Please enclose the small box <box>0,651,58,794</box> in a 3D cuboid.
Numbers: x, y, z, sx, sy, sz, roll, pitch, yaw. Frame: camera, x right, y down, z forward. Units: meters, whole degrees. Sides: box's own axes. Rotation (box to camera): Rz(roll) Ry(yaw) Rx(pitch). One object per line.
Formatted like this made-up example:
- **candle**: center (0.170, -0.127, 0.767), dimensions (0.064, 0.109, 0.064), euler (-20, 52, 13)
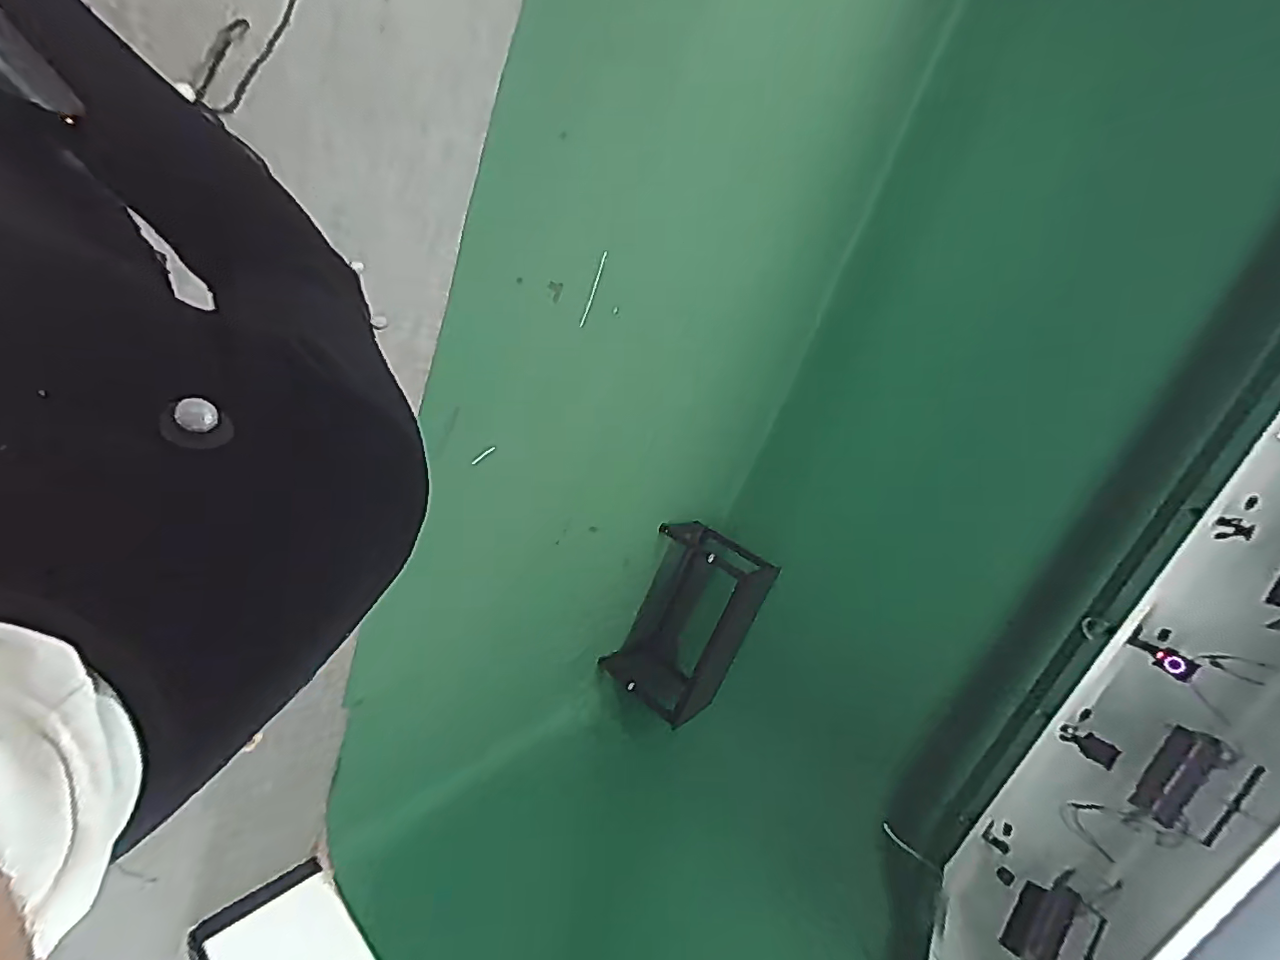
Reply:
- **small box**: center (-1.148, 0.428, 0.931), dimensions (0.168, 0.176, 0.179), euler (5, 112, -56)
